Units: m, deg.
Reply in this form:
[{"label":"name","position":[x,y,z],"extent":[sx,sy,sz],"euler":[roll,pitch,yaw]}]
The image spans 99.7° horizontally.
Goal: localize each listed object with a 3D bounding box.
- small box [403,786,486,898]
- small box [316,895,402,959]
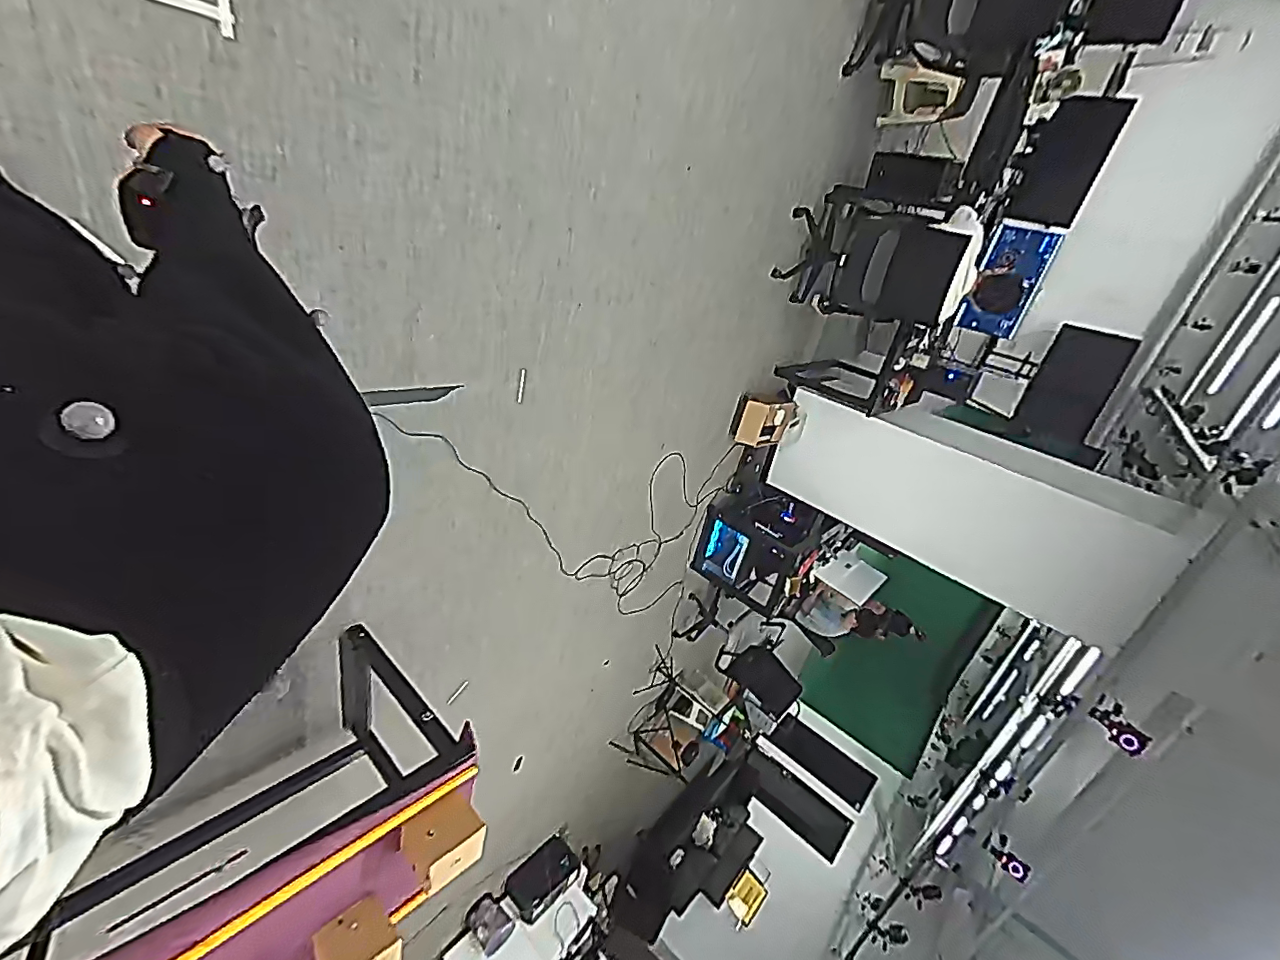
[{"label":"small box","position":[-0.581,1.060,1.596],"extent":[0.179,0.176,0.168],"euler":[-15,128,-46]},{"label":"small box","position":[-0.794,1.339,1.527],"extent":[0.168,0.176,0.179],"euler":[-16,126,-48]}]
